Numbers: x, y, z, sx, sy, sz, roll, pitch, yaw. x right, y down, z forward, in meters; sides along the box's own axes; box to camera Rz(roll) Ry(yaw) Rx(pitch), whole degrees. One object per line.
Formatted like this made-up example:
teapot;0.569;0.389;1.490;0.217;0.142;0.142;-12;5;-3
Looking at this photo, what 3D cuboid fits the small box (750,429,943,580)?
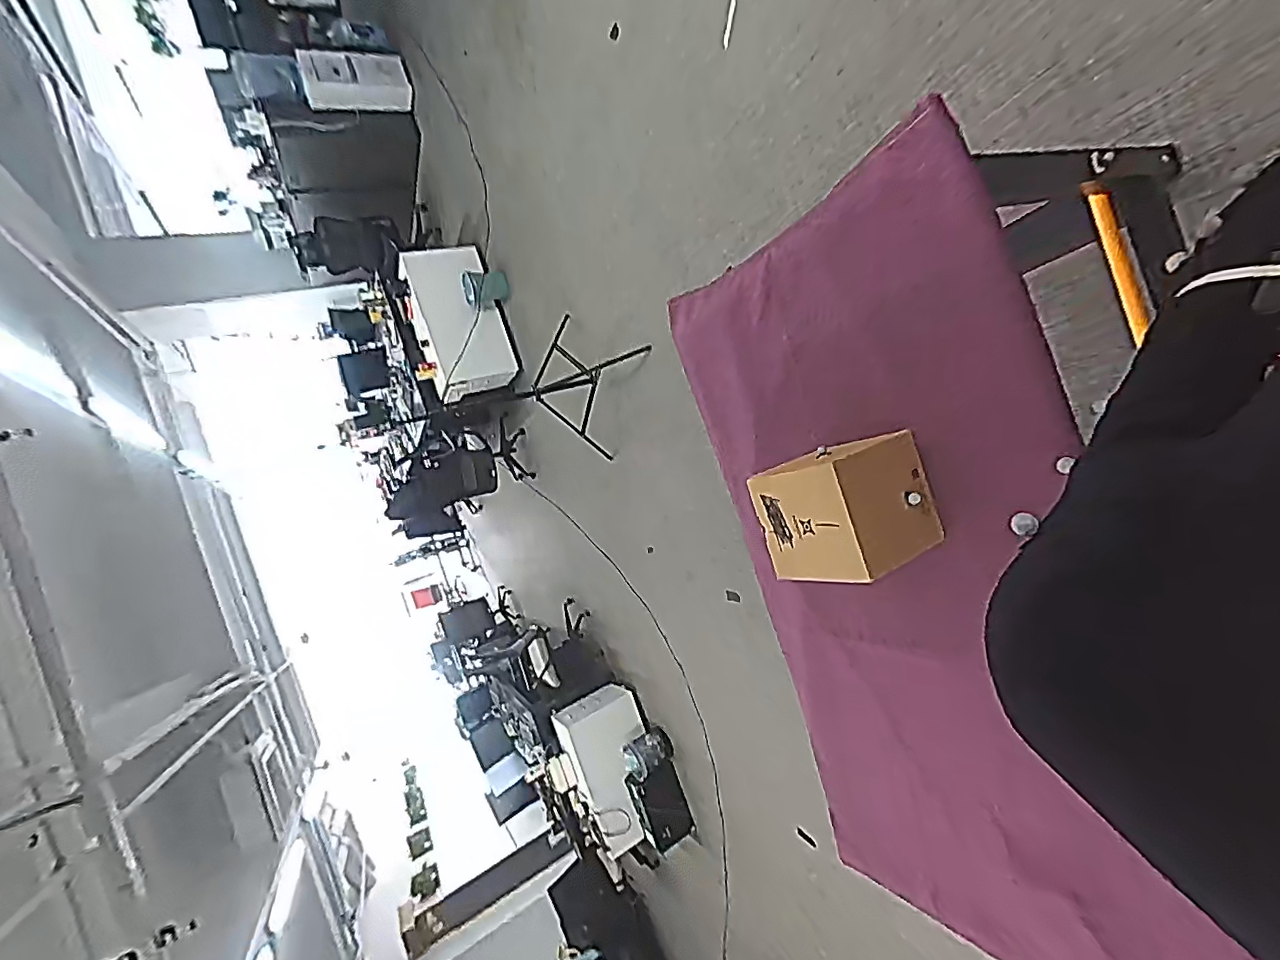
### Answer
small box;0.298;0.035;0.793;0.179;0.176;0.168;-15;94;62
